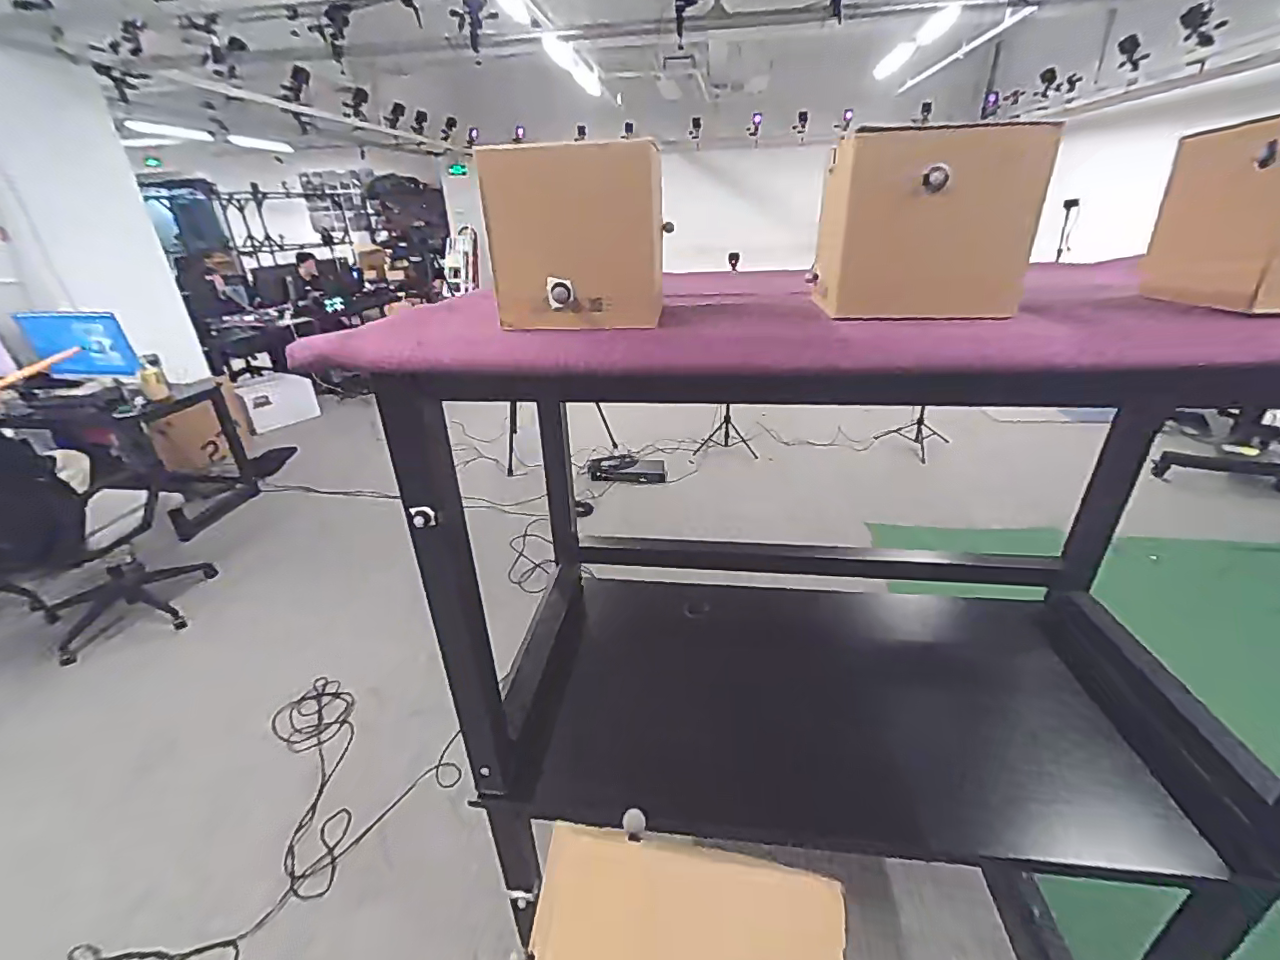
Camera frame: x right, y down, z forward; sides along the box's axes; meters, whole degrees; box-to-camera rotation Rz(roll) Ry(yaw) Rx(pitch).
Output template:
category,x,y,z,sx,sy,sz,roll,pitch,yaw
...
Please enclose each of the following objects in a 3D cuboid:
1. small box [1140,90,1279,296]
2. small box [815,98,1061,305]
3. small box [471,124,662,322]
category,x,y,z,sx,sy,sz,roll,pitch,yaw
small box,0.644,-0.271,0.519,0.168,0.176,0.179,1,25,11
small box,0.288,-0.281,0.573,0.179,0.176,0.168,2,26,8
small box,-0.063,-0.272,0.585,0.168,0.176,0.179,-1,28,5
